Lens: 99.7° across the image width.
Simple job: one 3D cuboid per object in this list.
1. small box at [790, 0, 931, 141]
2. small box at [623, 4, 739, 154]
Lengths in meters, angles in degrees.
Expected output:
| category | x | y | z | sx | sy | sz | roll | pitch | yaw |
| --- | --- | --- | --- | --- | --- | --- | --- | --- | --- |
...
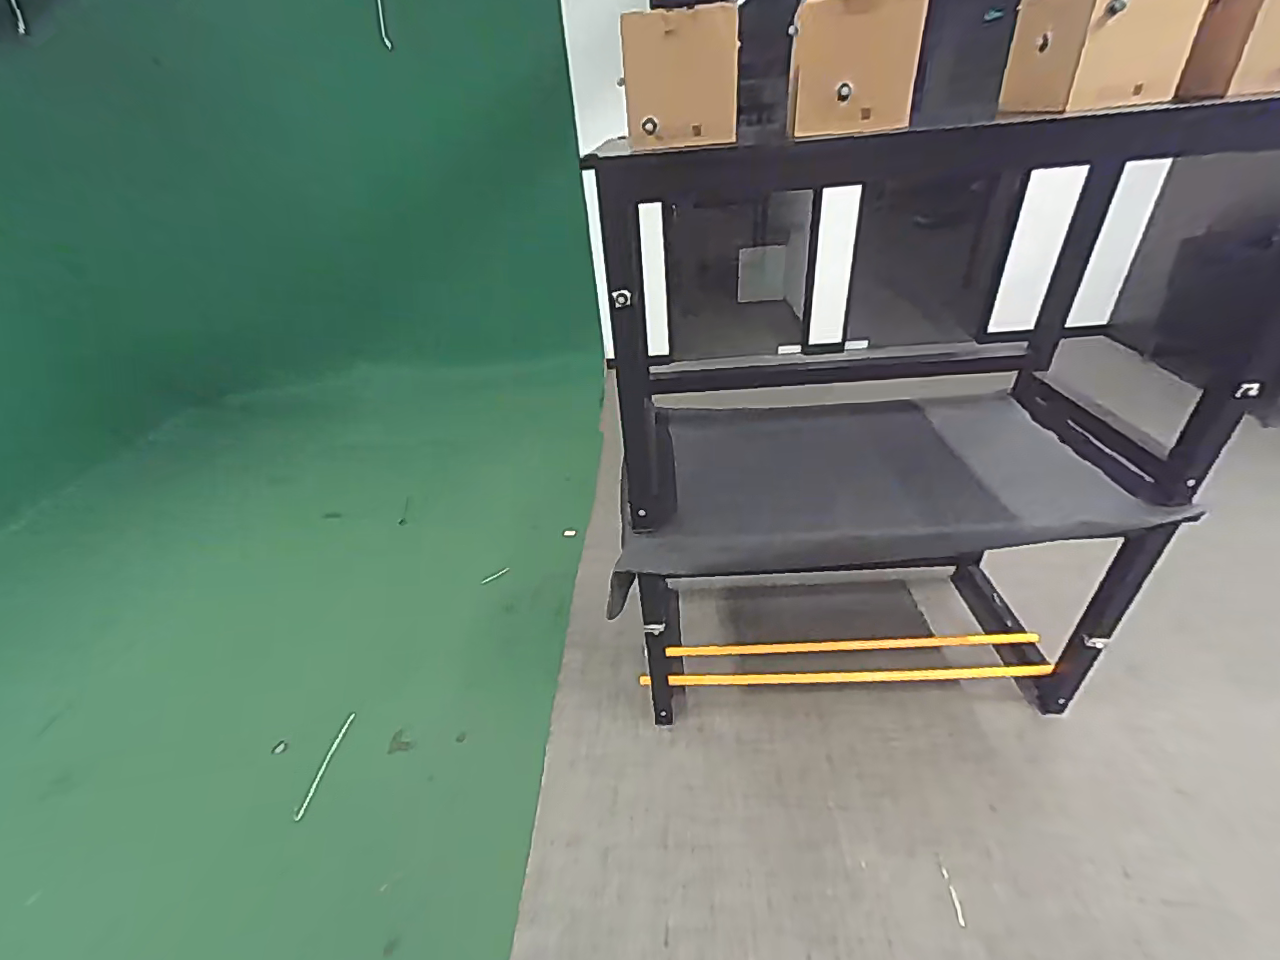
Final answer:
| category | x | y | z | sx | sy | sz | roll | pitch | yaw |
| --- | --- | --- | --- | --- | --- | --- | --- | --- | --- |
| small box | 0.330 | -0.636 | 0.848 | 0.168 | 0.176 | 0.179 | 2 | 35 | 10 |
| small box | 0.066 | -0.626 | 0.861 | 0.168 | 0.176 | 0.179 | -3 | 33 | 3 |
